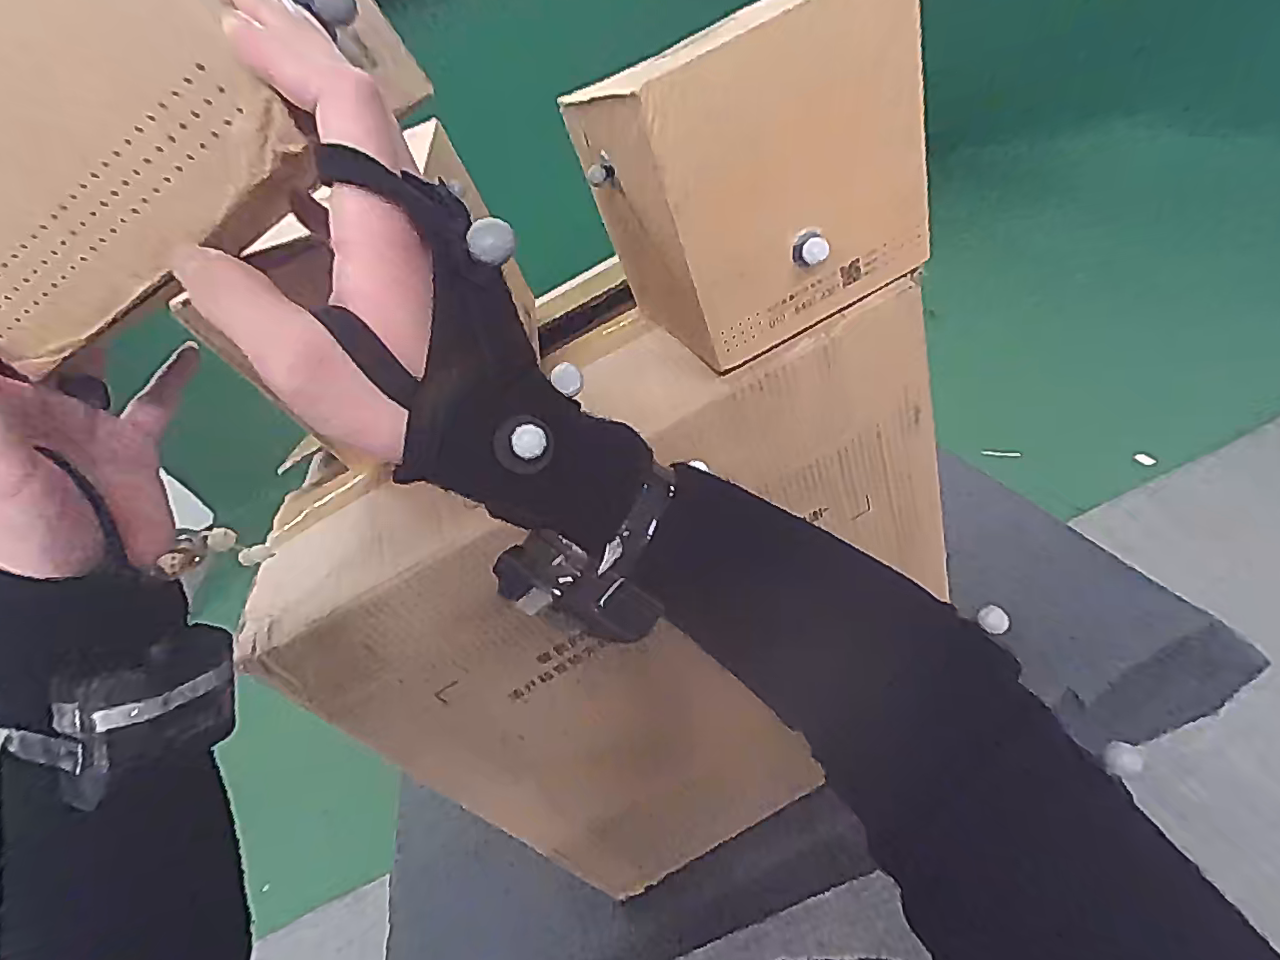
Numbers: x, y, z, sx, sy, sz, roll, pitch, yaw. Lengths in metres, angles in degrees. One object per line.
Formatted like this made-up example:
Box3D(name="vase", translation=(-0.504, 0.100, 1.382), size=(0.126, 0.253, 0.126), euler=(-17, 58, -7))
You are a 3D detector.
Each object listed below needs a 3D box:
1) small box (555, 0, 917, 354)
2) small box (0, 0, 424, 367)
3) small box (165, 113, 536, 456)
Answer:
Box3D(name="small box", translation=(0.063, -0.213, 0.378), size=(0.168, 0.176, 0.179), euler=(-29, 38, -2))
Box3D(name="small box", translation=(-0.225, -0.176, 0.214), size=(0.179, 0.176, 0.168), euler=(-25, 39, 18))
Box3D(name="small box", translation=(-0.201, -0.145, 0.433), size=(0.179, 0.176, 0.168), euler=(-19, 49, 8))
